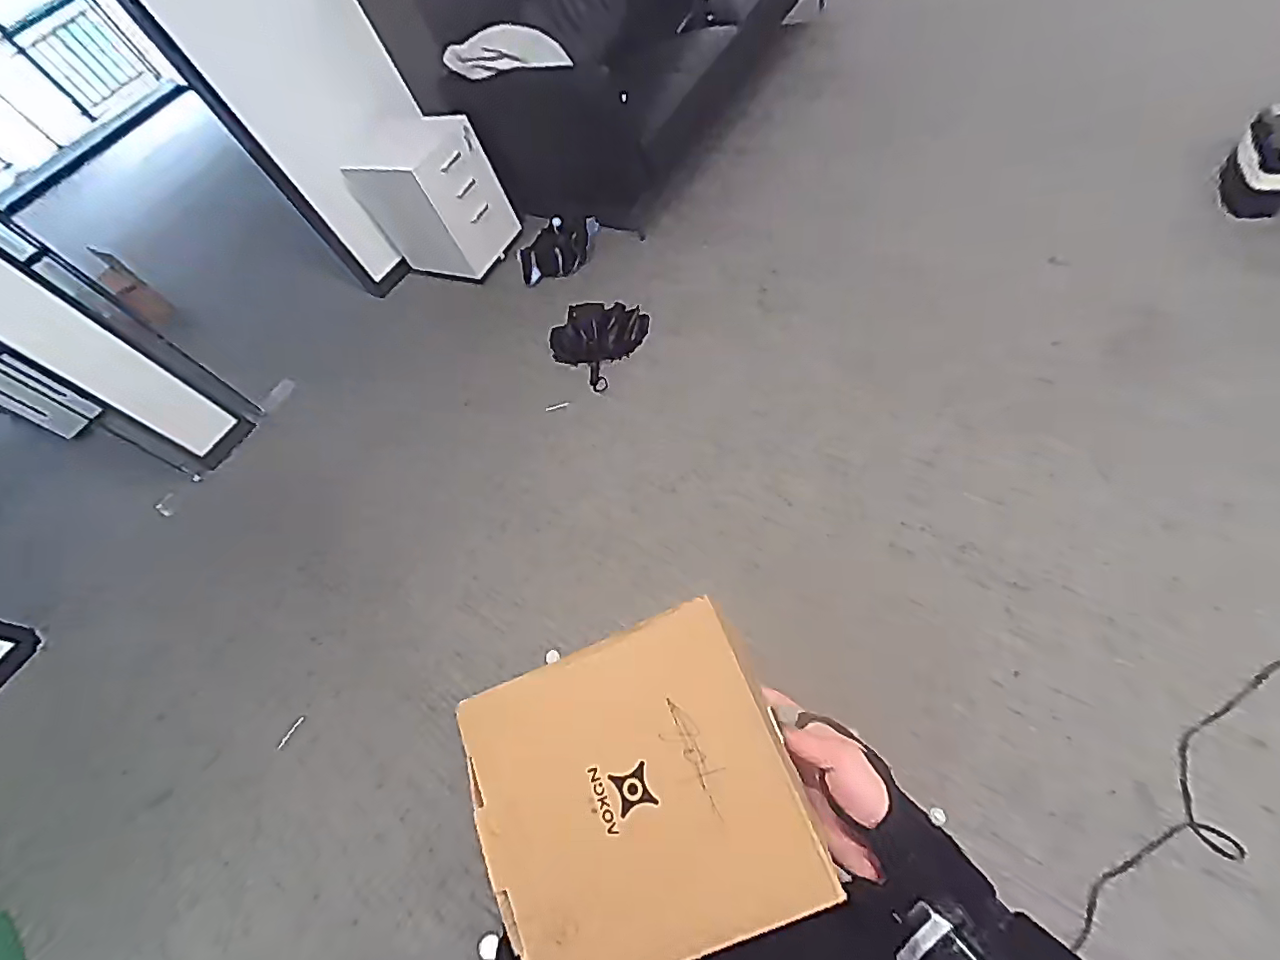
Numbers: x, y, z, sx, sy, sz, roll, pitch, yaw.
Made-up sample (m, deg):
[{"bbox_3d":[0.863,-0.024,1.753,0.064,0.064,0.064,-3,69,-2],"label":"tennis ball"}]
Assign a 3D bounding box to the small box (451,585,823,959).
[{"bbox_3d":[0.004,0.190,0.381,0.179,0.176,0.168,-25,72,4],"label":"small box"}]
